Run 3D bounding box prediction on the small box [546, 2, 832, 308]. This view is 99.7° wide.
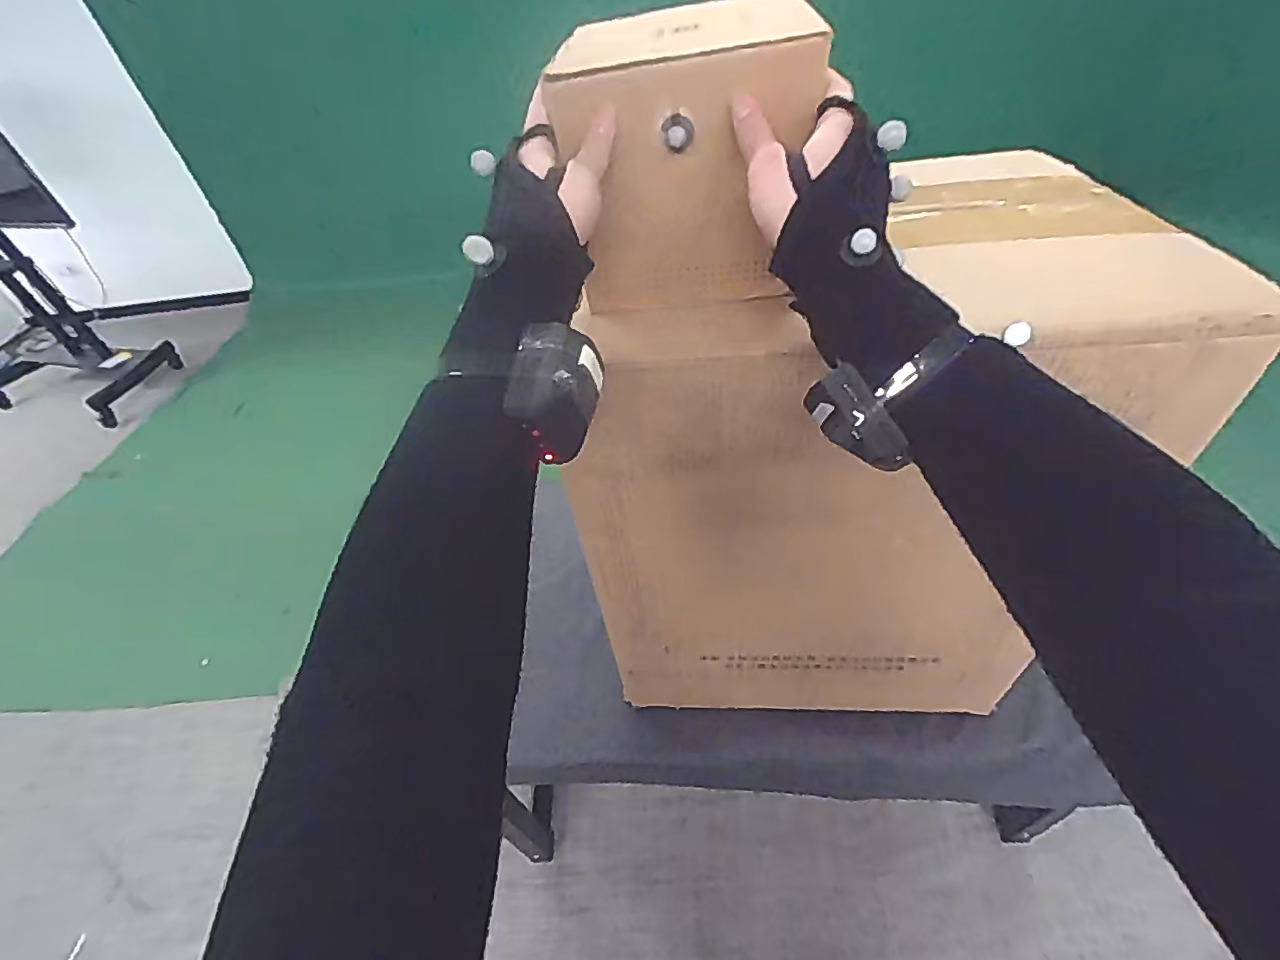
[{"bbox_3d":[0.040,-0.253,0.434,0.179,0.176,0.168,-1,48,6],"label":"small box"}]
